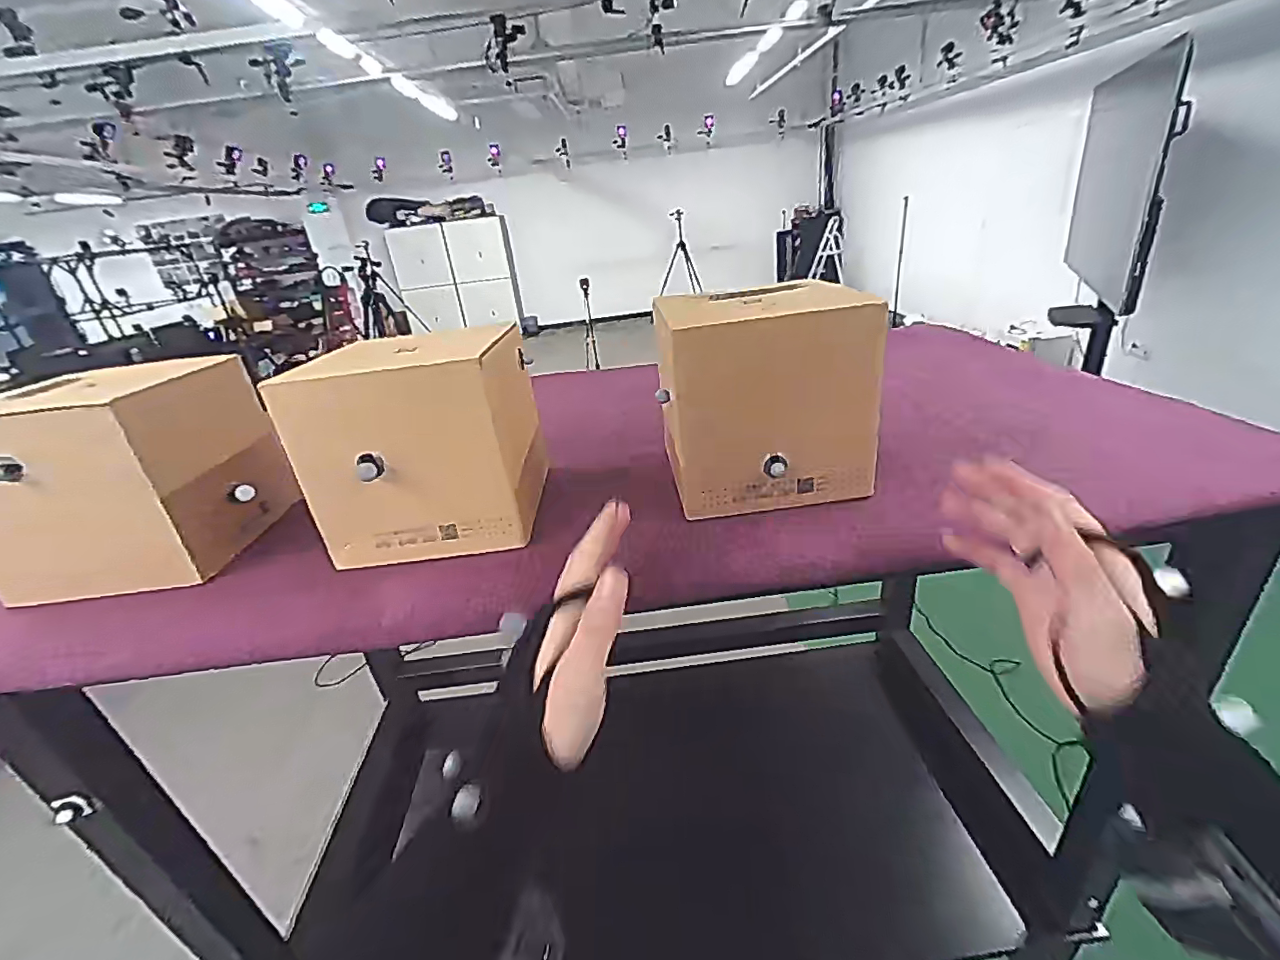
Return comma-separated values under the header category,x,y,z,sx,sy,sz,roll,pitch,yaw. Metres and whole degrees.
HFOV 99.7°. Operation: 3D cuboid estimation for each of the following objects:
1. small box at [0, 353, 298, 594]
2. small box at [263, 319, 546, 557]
category,x,y,z,sx,sy,sz,roll,pitch,yaw
small box,-0.470,-0.010,0.504,0.179,0.176,0.168,-6,26,0
small box,-0.189,-0.040,0.500,0.168,0.176,0.179,-7,25,1
